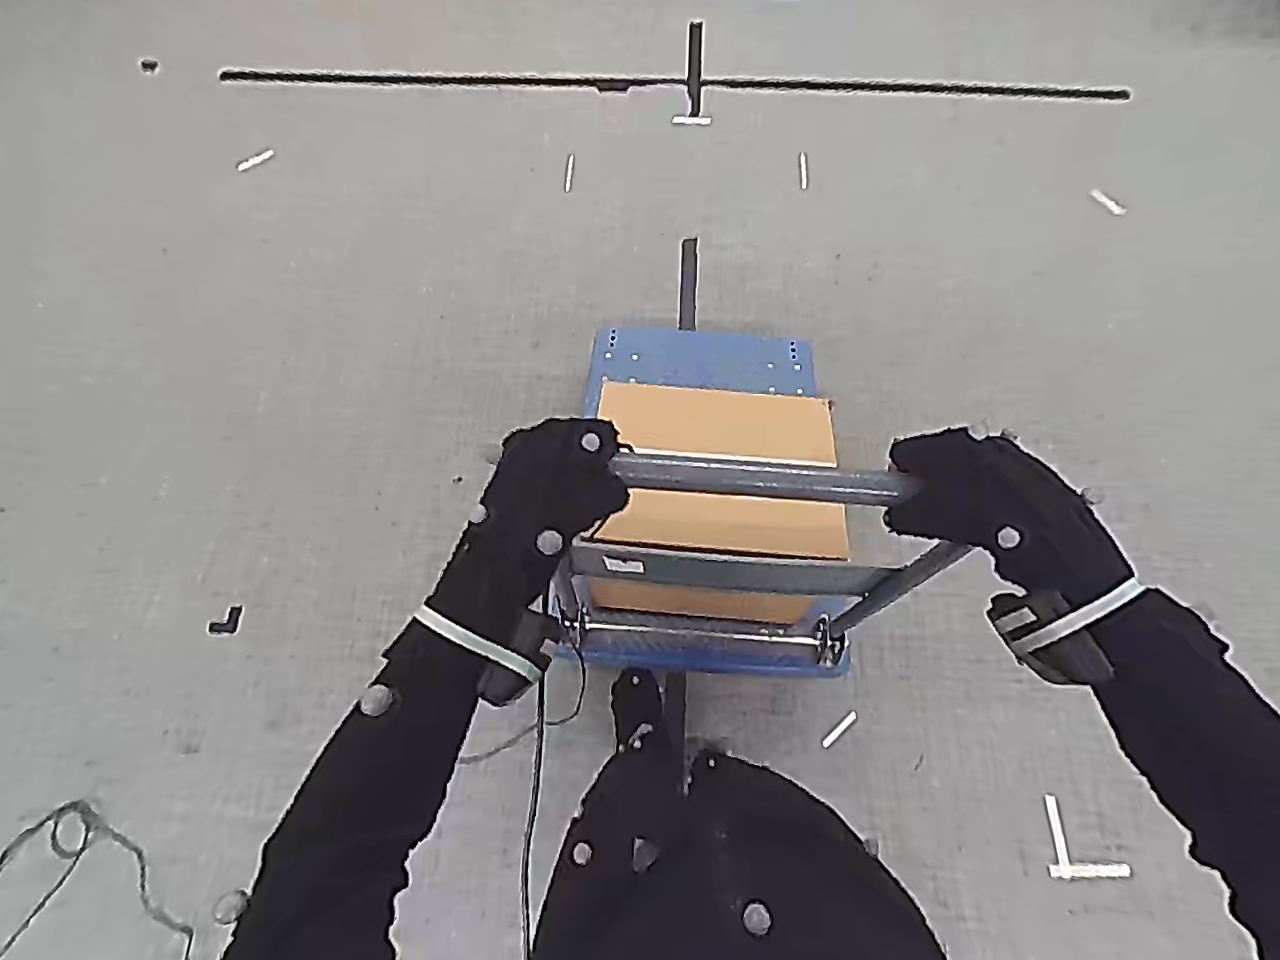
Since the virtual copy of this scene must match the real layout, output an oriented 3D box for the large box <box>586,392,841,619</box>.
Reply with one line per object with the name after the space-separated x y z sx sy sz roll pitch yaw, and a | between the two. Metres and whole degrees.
0.115 0.059 1.033 0.408 0.320 0.320 5 58 0 | large box
